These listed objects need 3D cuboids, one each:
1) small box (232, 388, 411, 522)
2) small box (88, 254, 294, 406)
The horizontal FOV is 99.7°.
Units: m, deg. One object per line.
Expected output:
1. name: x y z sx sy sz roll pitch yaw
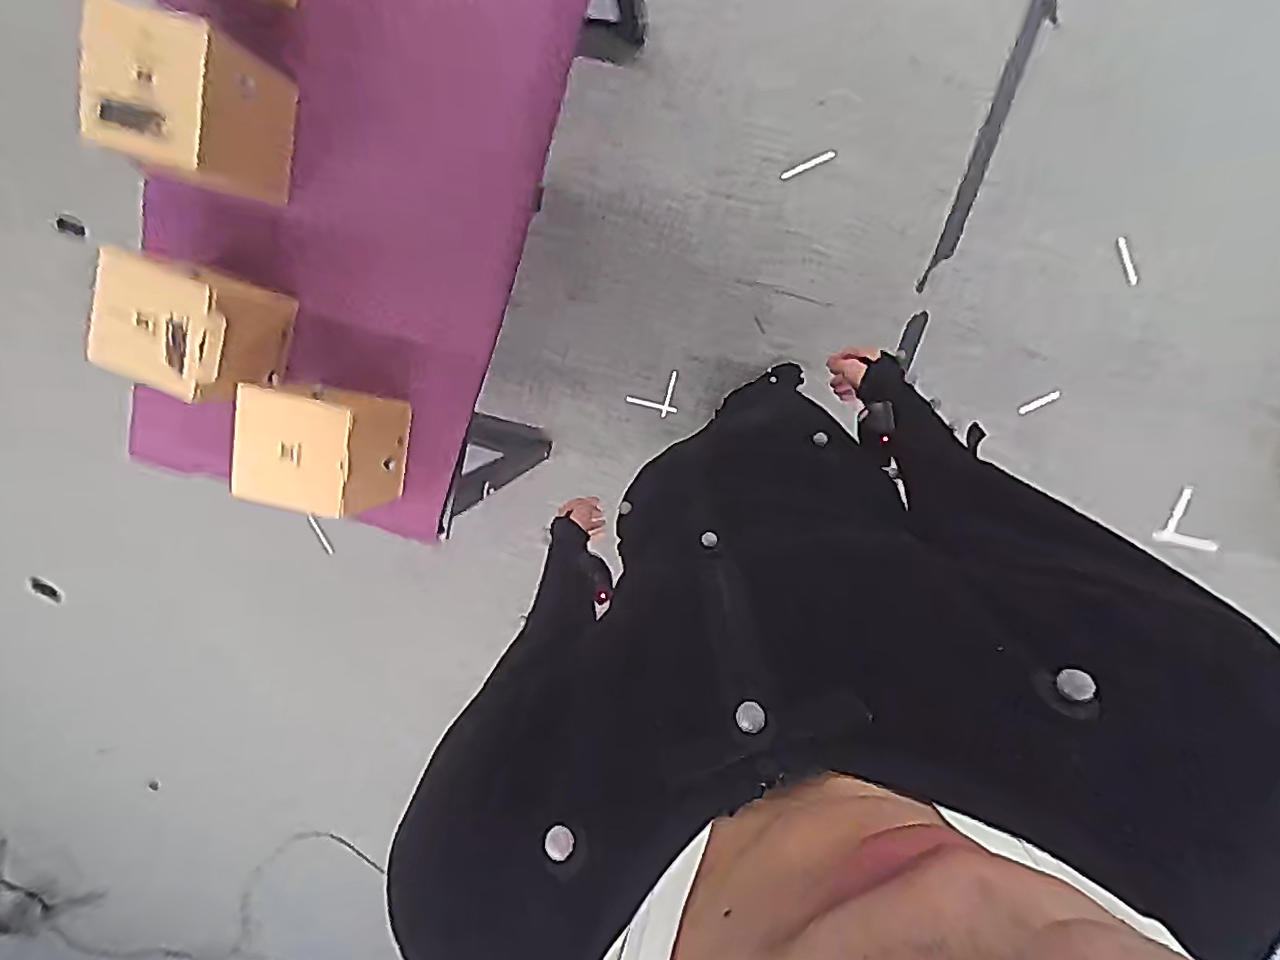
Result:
1. small box: -0.495 -0.047 0.857 0.179 0.176 0.168 12 101 3
2. small box: -0.684 -0.228 0.840 0.179 0.176 0.168 21 103 1
